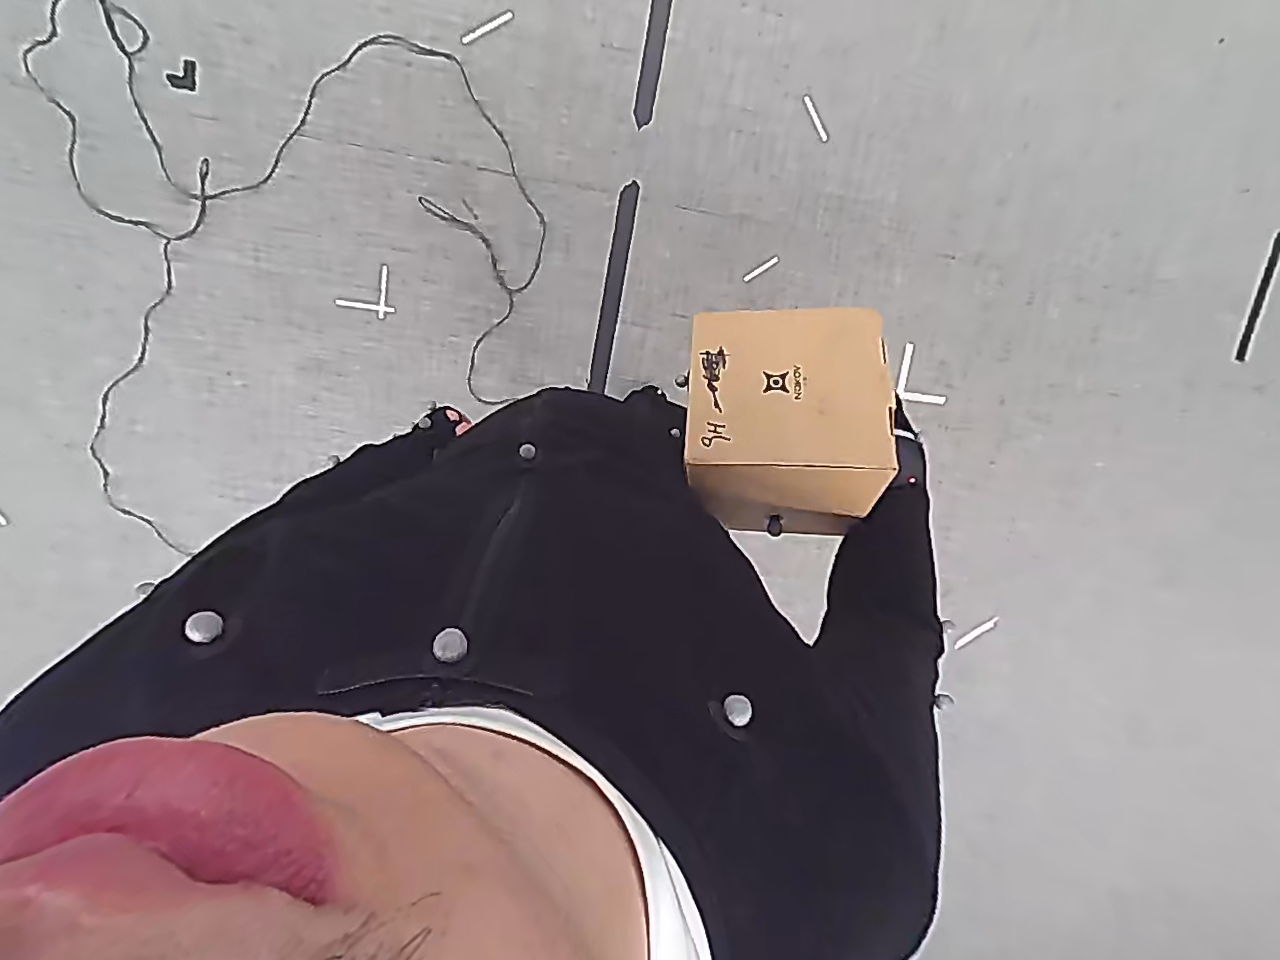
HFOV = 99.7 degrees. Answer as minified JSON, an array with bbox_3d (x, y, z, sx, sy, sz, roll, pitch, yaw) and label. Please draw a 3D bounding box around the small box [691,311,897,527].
[{"bbox_3d":[0.147,-0.055,0.569,0.179,0.176,0.168,2,65,8],"label":"small box"}]
